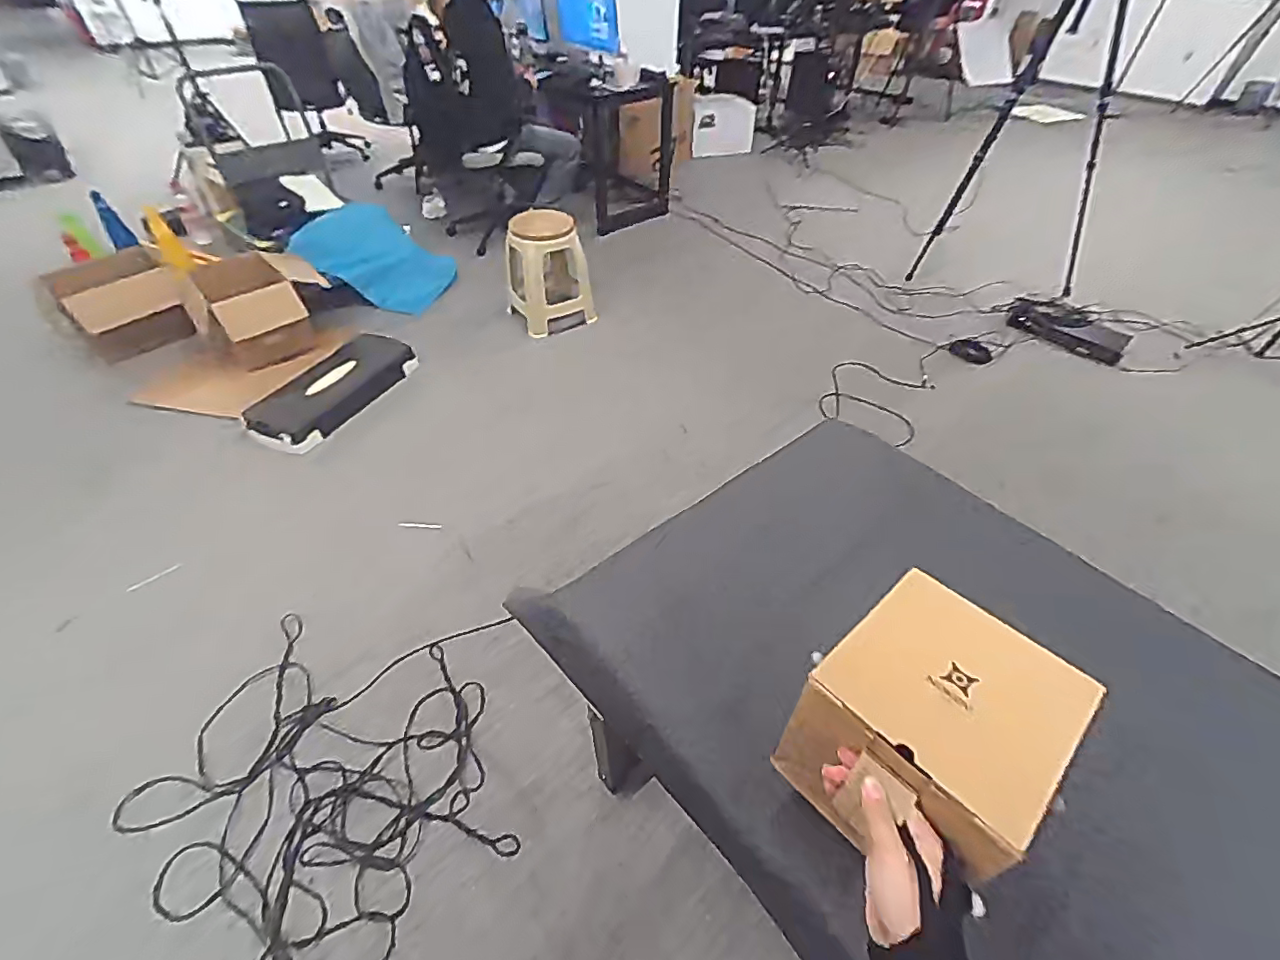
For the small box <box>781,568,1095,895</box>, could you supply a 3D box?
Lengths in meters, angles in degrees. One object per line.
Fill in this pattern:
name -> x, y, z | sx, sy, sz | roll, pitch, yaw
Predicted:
small box -> 0.250, 0.221, 0.490 | 0.179, 0.176, 0.168 | -31, 51, -31
